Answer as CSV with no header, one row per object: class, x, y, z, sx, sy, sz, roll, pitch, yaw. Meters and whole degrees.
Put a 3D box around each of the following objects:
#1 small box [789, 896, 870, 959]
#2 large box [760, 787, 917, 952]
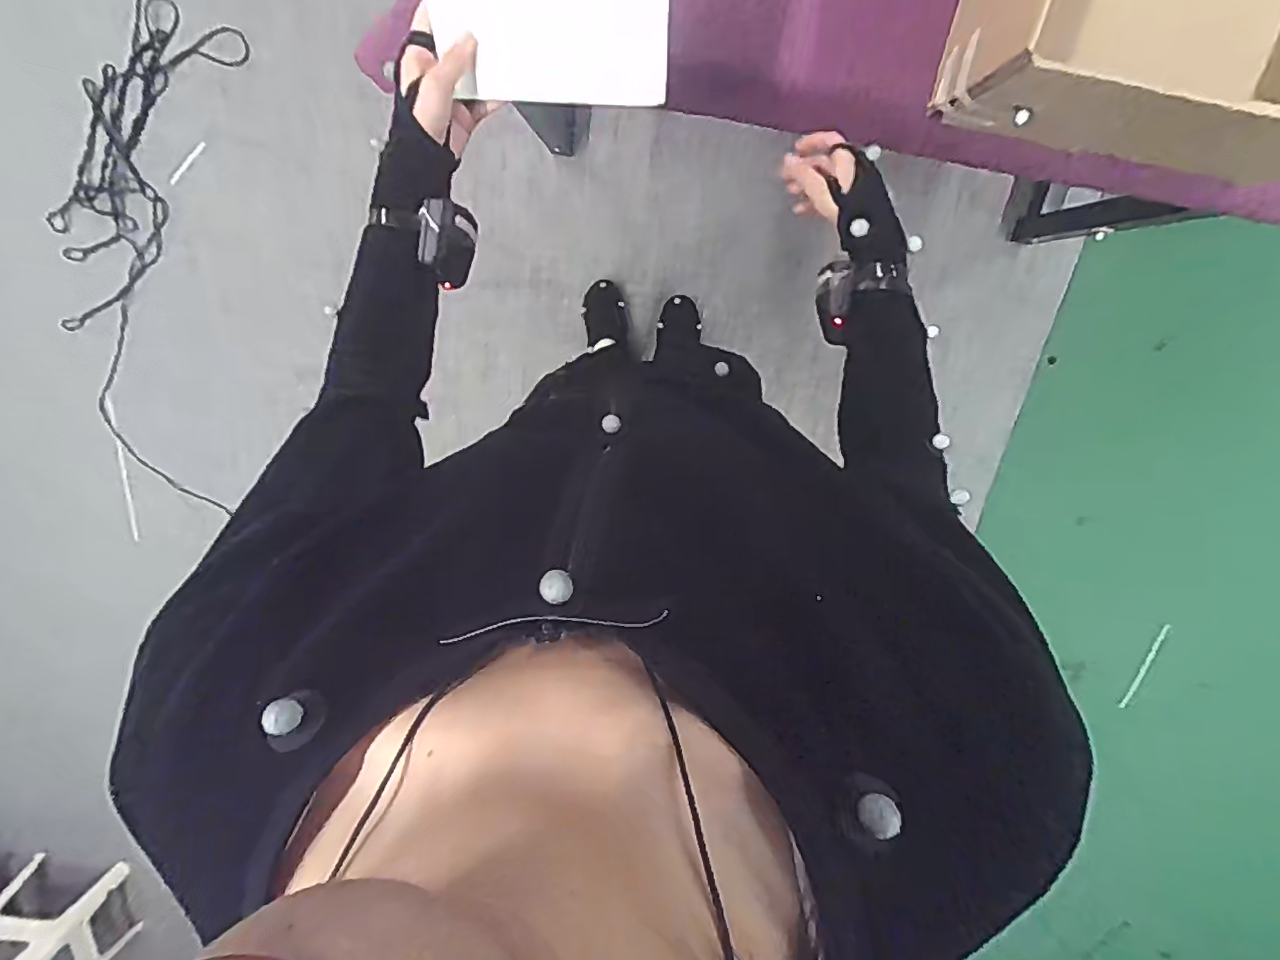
small box,0.528,1.318,1.529,0.179,0.176,0.168,0,108,3
large box,0.624,1.255,1.762,0.408,0.320,0.320,-5,108,3
